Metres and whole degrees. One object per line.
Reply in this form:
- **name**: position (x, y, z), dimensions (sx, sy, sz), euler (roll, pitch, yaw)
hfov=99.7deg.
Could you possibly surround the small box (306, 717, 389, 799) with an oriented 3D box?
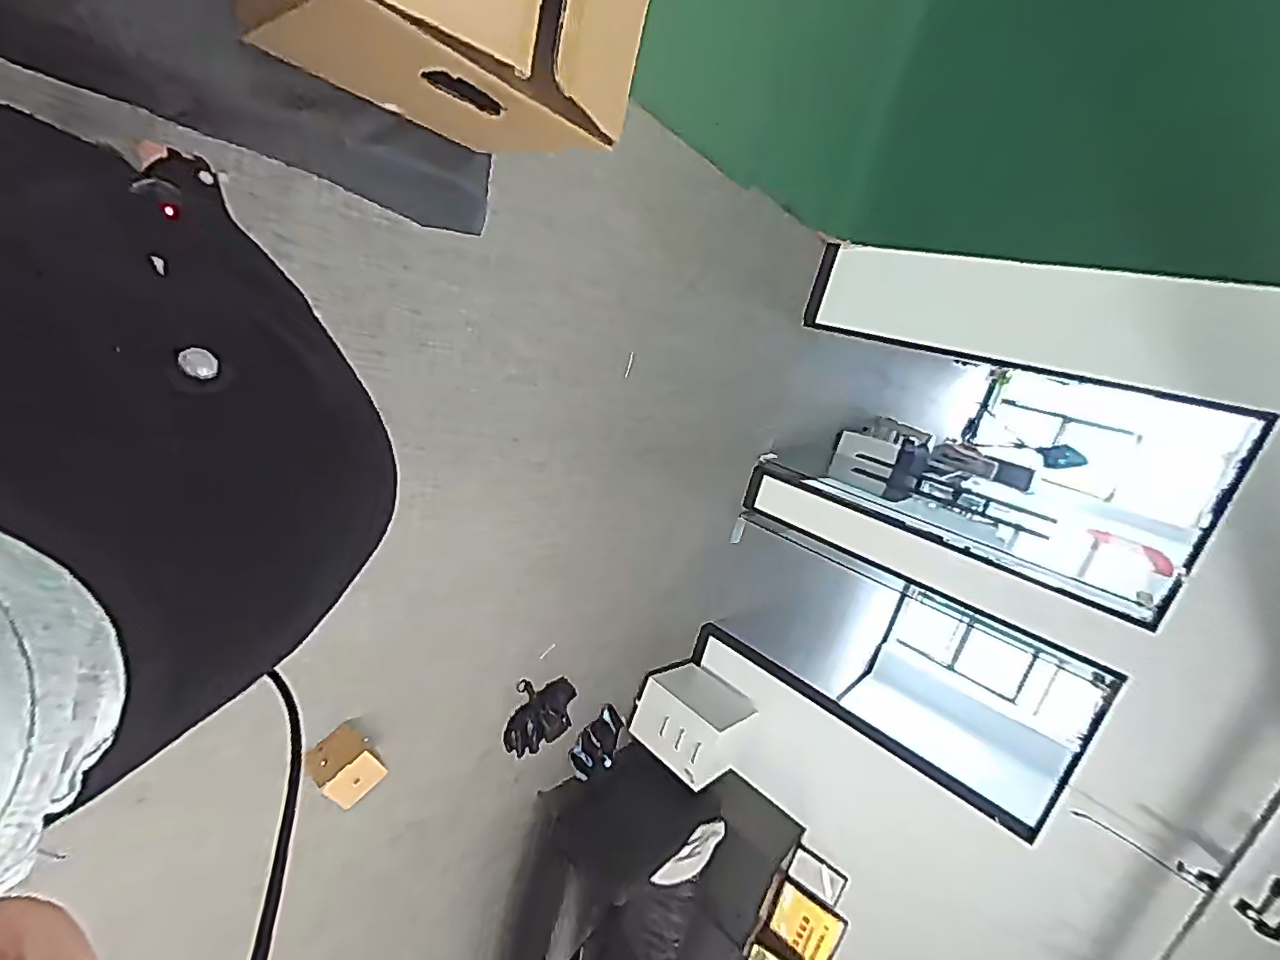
- **small box**: position (-1.024, 0.963, 1.889), dimensions (0.168, 0.176, 0.179), euler (-41, 140, -27)
